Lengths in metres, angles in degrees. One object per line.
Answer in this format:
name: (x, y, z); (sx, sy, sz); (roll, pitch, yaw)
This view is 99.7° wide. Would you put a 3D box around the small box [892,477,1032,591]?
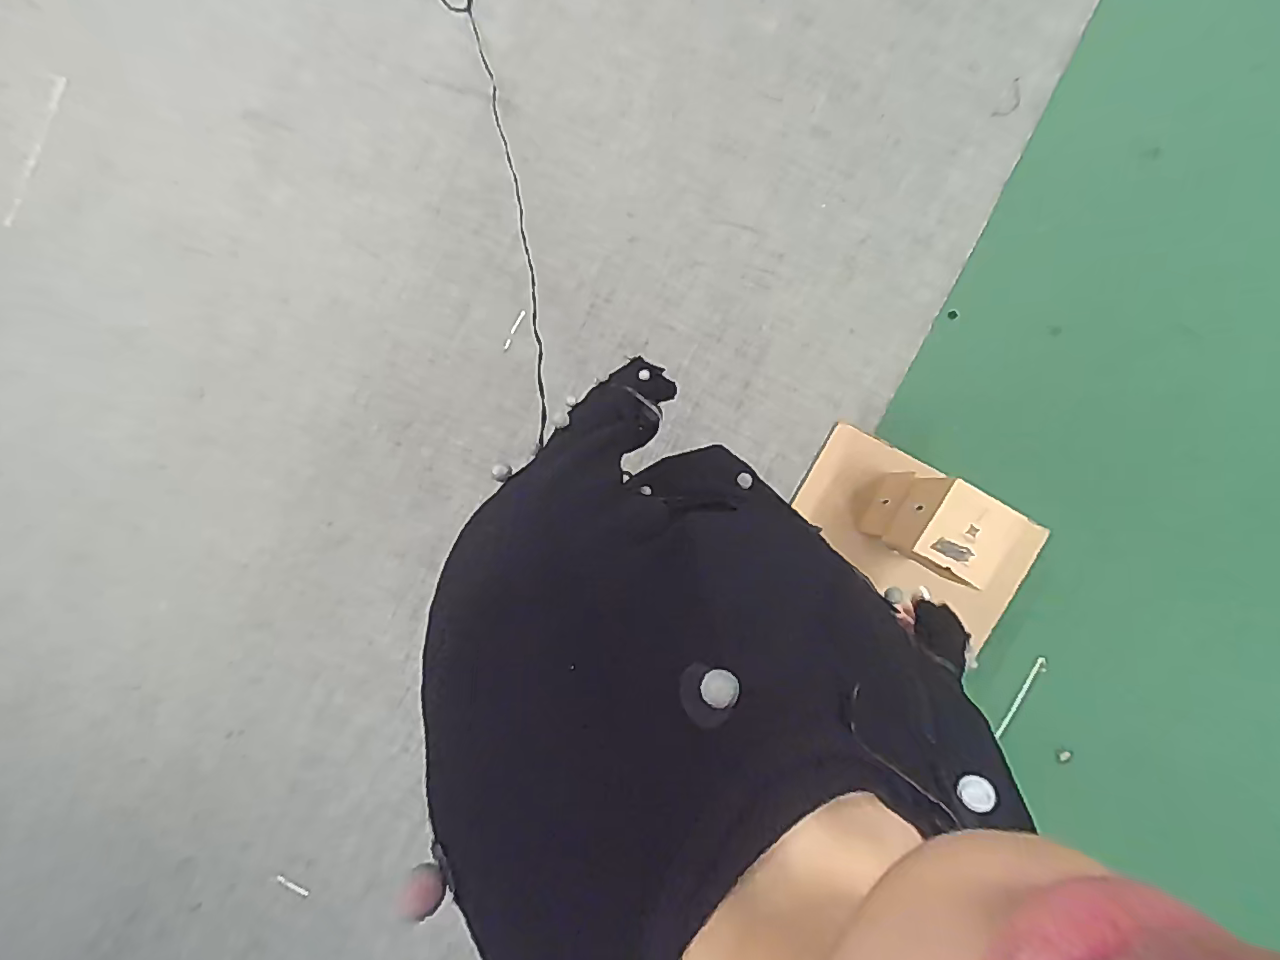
small box: (0.672, 0.109, 1.159); (0.168, 0.176, 0.179); (32, 91, 3)
